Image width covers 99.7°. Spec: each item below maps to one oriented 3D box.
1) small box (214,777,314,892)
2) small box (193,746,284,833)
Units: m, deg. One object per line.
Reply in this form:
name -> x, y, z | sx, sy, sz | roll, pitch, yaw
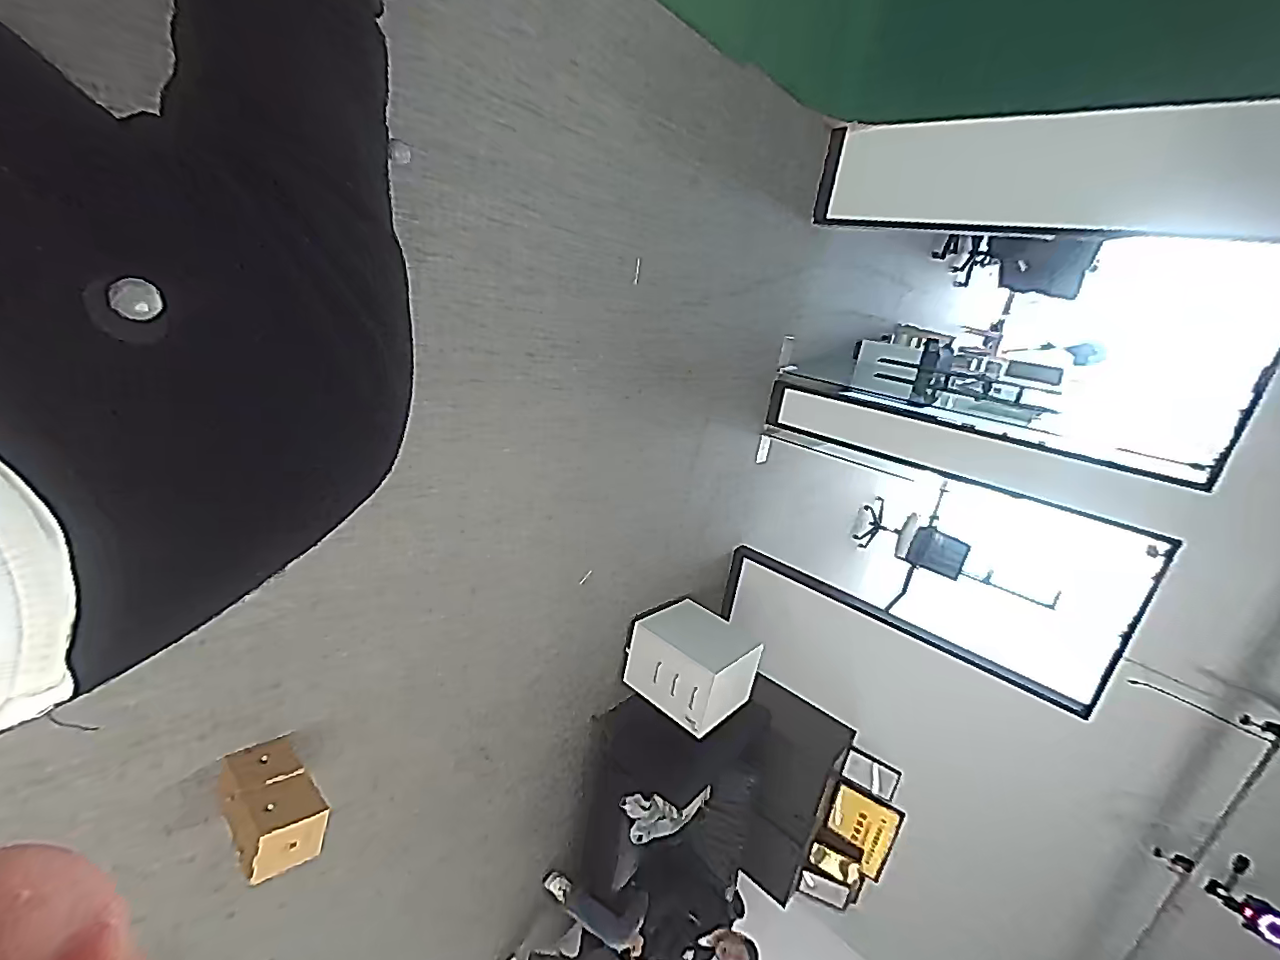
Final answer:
small box -> -1.055, 0.980, 1.511 | 0.179, 0.176, 0.168 | 5, 107, -55
small box -> -1.170, 0.935, 1.604 | 0.179, 0.176, 0.168 | -38, 138, -36
